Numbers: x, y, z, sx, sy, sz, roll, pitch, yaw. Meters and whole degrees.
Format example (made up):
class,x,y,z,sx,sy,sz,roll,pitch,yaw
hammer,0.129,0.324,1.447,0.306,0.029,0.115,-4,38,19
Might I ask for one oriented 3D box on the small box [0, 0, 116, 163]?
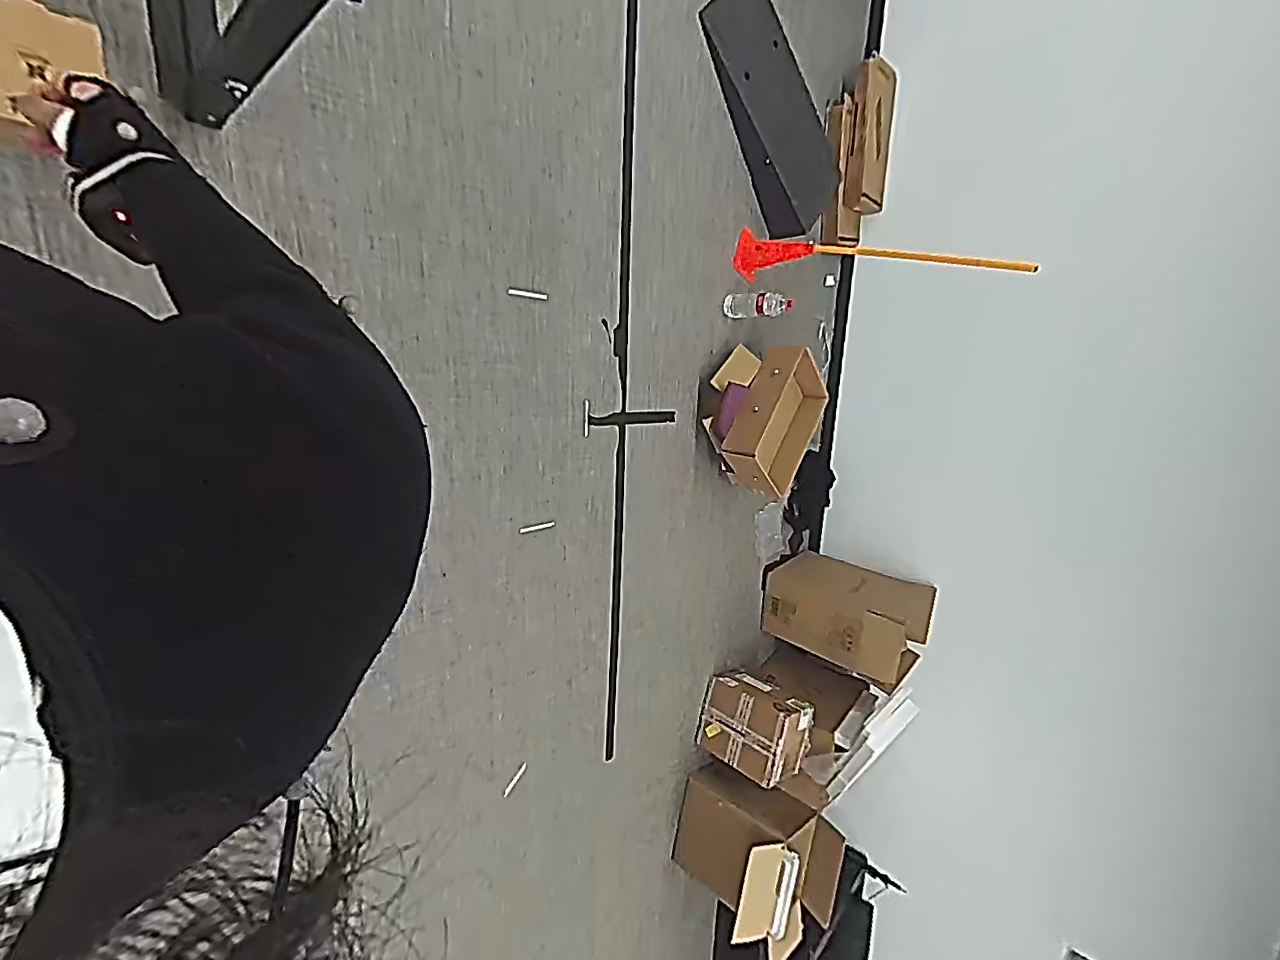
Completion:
class,x,y,z,sx,sy,sz,roll,pitch,yaw
small box,-1.001,-0.659,0.895,0.168,0.176,0.179,-11,108,-46
